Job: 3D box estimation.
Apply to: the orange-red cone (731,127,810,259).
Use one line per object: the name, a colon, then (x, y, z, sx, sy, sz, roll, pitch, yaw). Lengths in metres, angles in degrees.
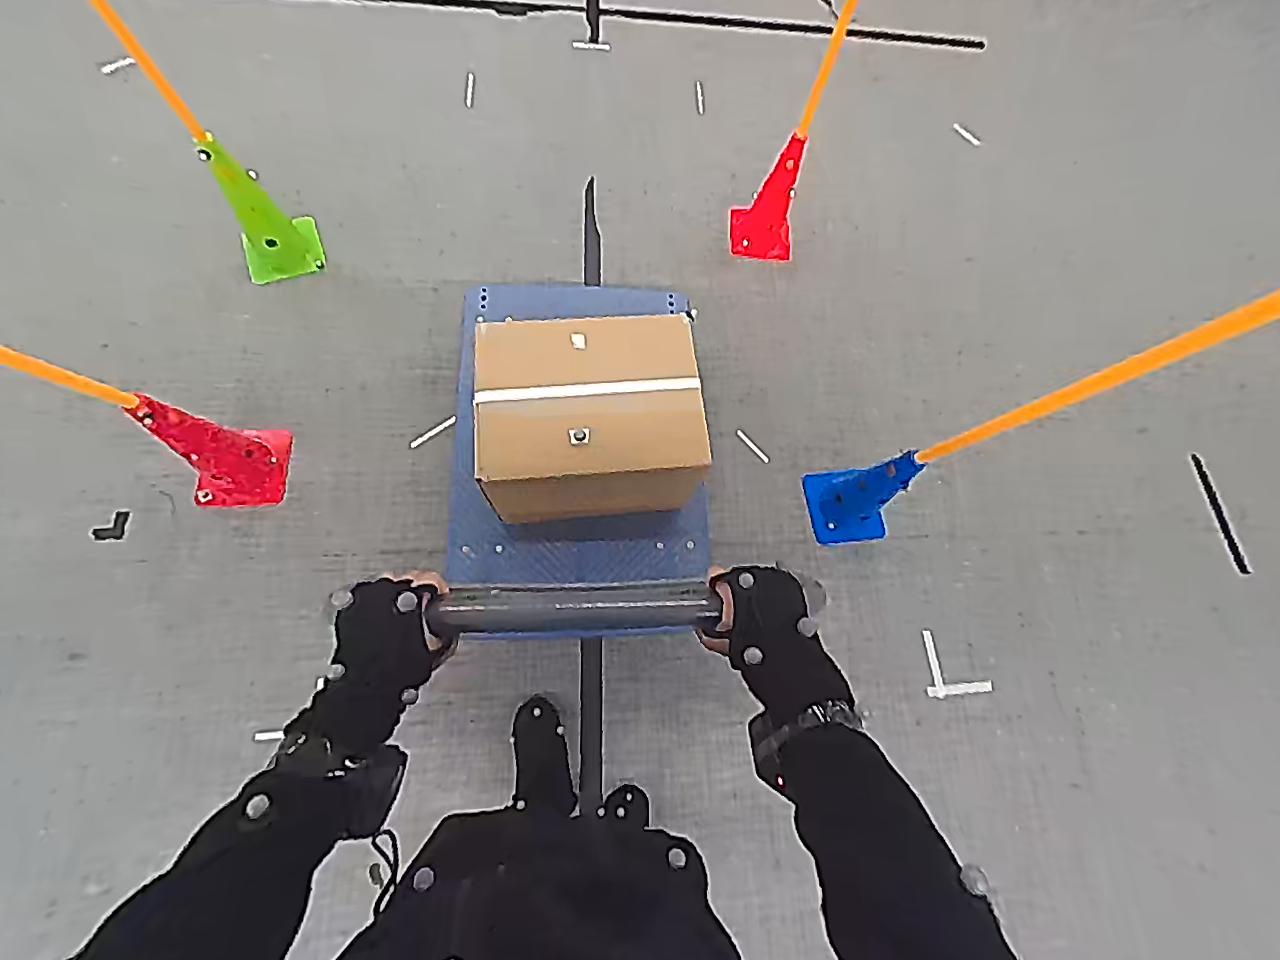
orange-red cone: (0.411, -0.855, 1.578, 0.199, 0.360, 0.198, 6, 71, -5)

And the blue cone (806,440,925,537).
blue cone: (0.573, 0.003, 1.318, 0.193, 0.380, 0.192, -4, 71, -8)
